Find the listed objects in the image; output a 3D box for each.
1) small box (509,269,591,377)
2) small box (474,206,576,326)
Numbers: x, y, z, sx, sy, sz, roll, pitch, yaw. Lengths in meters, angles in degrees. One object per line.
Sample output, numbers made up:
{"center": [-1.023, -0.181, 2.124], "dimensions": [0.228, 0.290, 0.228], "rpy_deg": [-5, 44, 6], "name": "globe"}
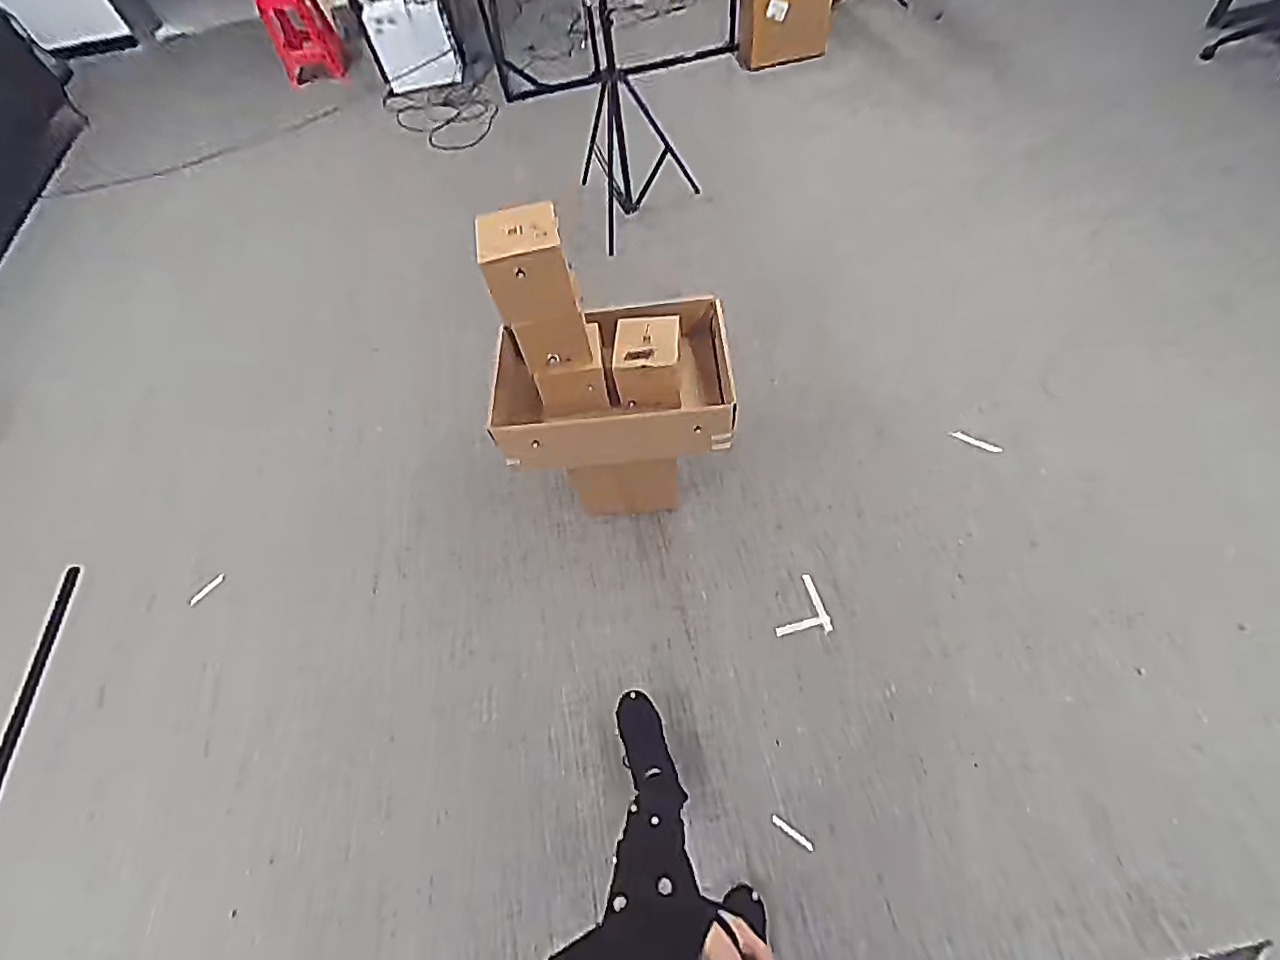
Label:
{"center": [-0.223, -0.384, 1.334], "dimensions": [0.168, 0.176, 0.179], "rpy_deg": [-13, 58, -1], "name": "small box"}
{"center": [-0.252, -0.466, 1.196], "dimensions": [0.179, 0.176, 0.168], "rpy_deg": [-12, 58, 0], "name": "small box"}
